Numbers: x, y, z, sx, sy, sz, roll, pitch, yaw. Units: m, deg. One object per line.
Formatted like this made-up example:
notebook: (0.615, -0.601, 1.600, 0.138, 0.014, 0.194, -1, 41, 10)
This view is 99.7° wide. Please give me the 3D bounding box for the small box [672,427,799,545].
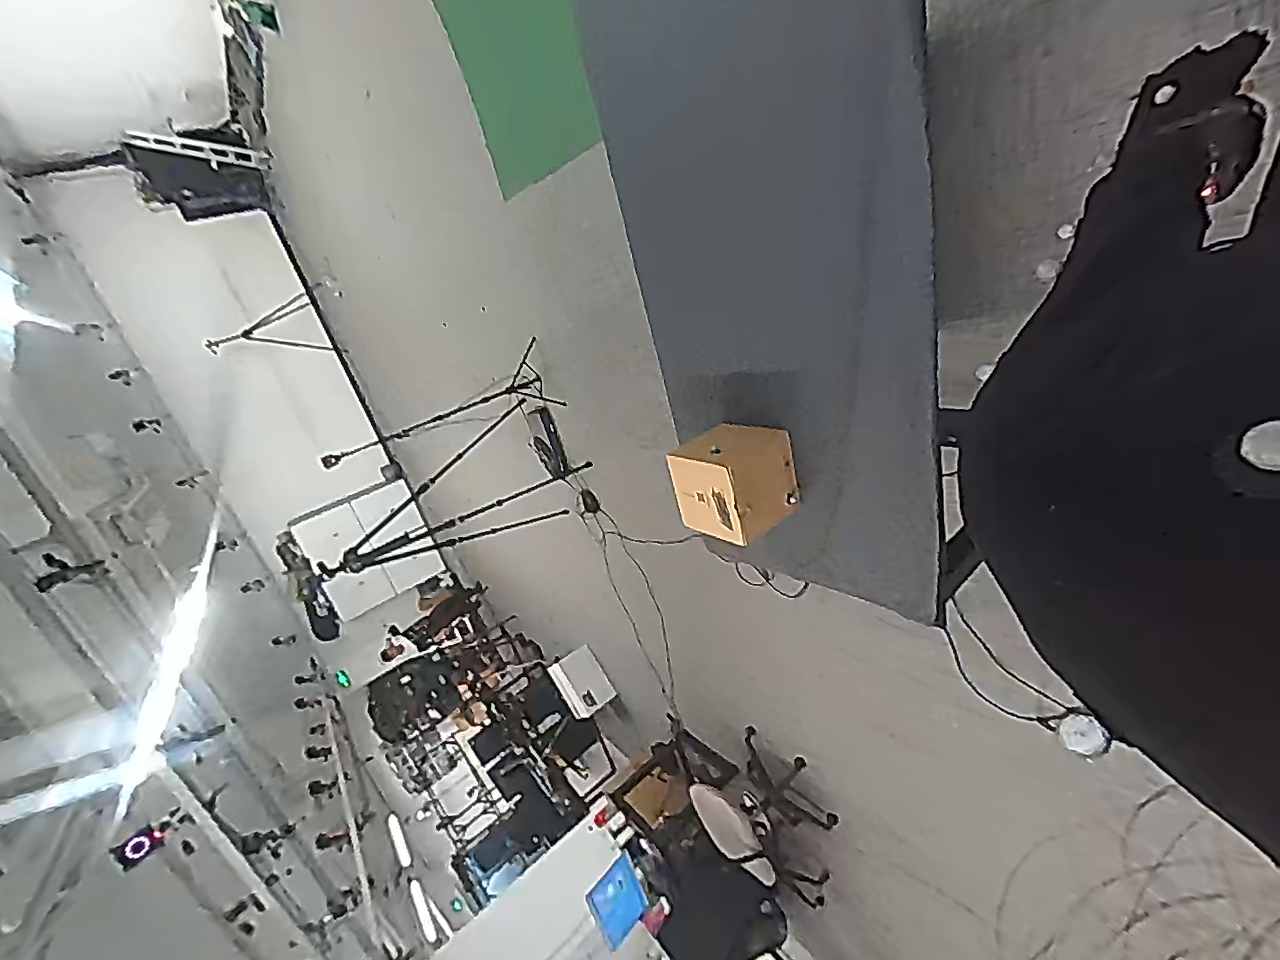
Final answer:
small box: (0.196, 0.002, 1.070, 0.179, 0.176, 0.168, 16, 127, 53)
